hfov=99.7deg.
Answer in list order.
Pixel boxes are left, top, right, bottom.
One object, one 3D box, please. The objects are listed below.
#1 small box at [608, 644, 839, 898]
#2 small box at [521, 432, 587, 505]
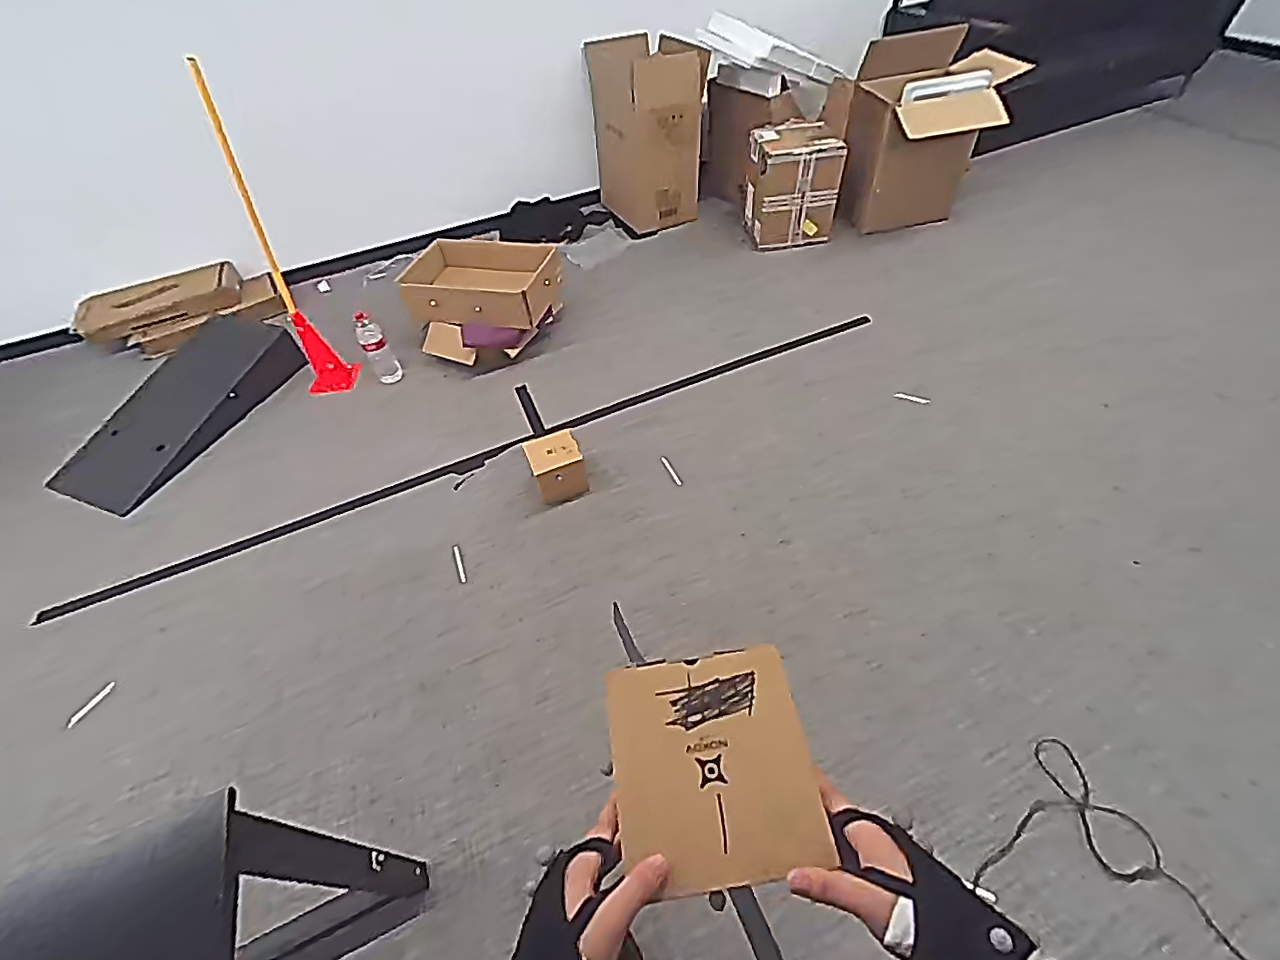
[{"bbox_3d":[0.061,0.280,0.518,0.168,0.176,0.179,-8,54,-4],"label":"small box"},{"bbox_3d":[-0.303,-0.038,1.927,0.179,0.176,0.168,-20,51,-12],"label":"small box"}]
